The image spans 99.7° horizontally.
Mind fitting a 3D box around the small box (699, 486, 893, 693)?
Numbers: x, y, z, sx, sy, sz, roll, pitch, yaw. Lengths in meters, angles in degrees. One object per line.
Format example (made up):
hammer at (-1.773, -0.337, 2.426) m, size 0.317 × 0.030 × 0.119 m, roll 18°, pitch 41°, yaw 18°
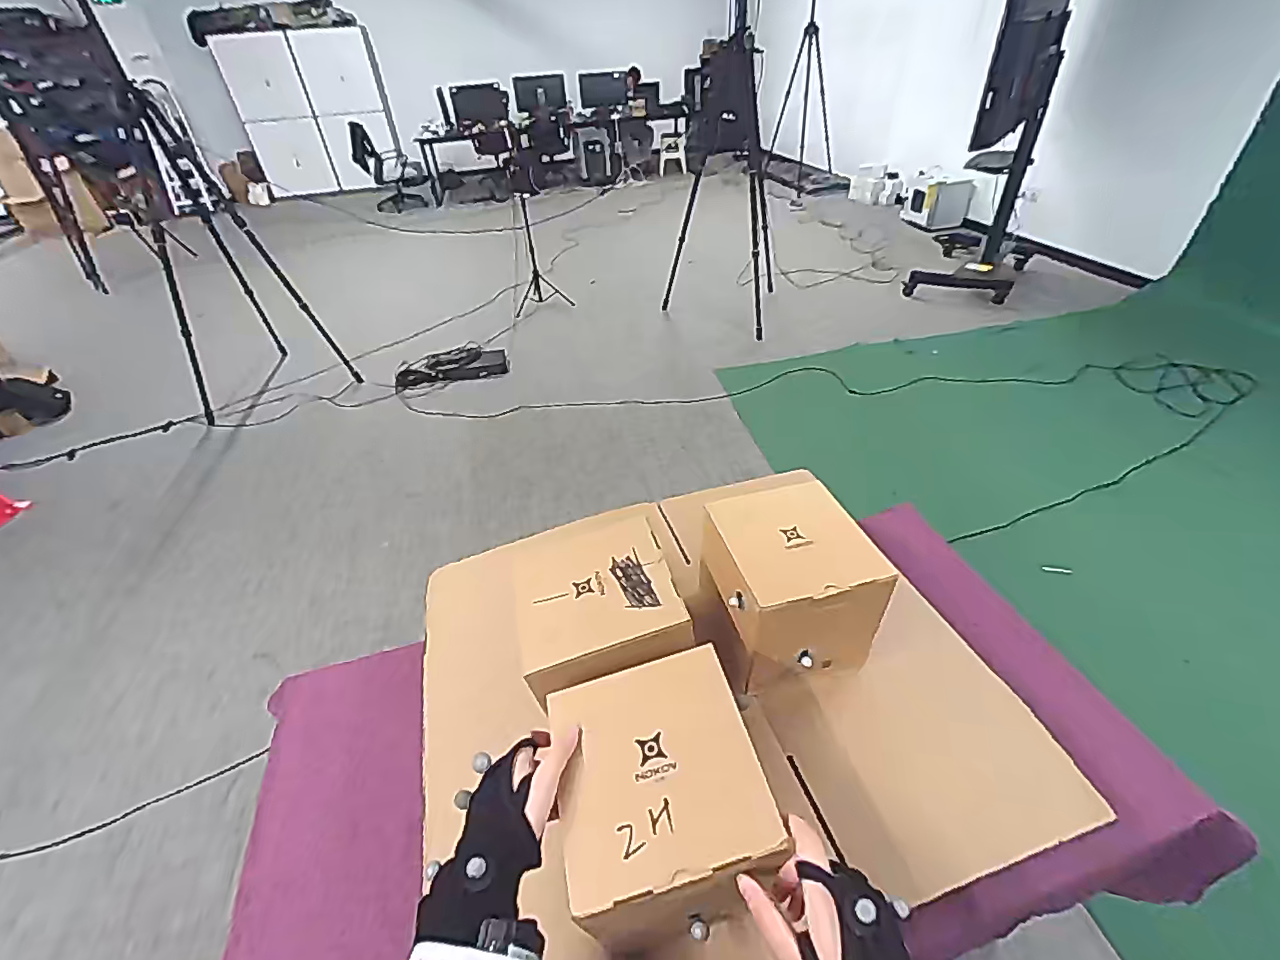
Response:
small box at (0.179, 0.135, 0.688) m, size 0.168 × 0.176 × 0.179 m, roll -11°, pitch 40°, yaw -11°
